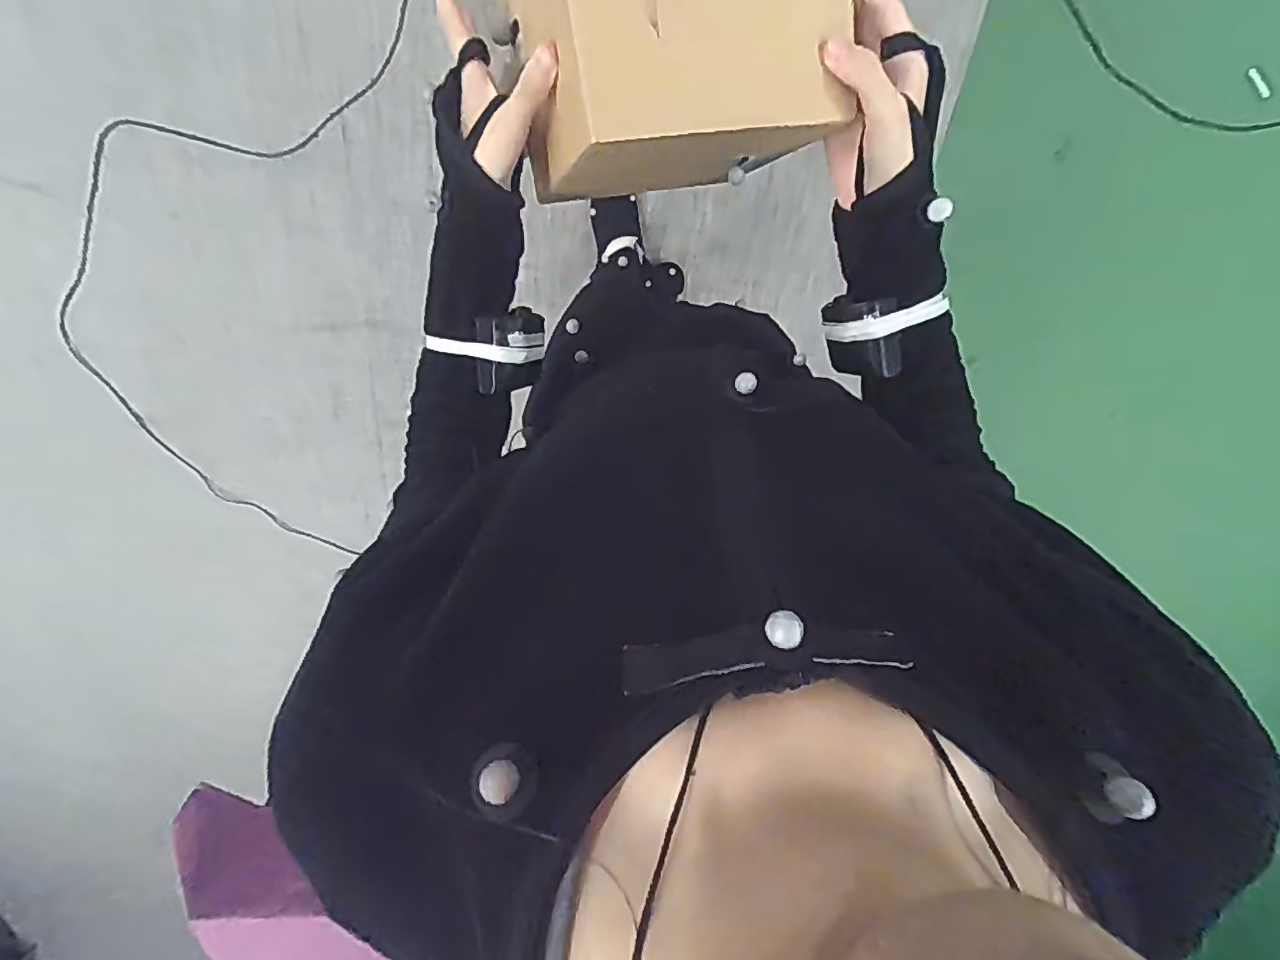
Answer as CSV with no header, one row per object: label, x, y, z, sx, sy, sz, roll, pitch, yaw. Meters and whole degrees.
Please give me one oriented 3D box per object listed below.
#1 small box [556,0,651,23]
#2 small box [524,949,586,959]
small box,-0.066,-0.933,0.954,0.179,0.176,0.168,-1,120,-5
small box,-0.238,1.400,1.454,0.179,0.176,0.168,2,119,-4
